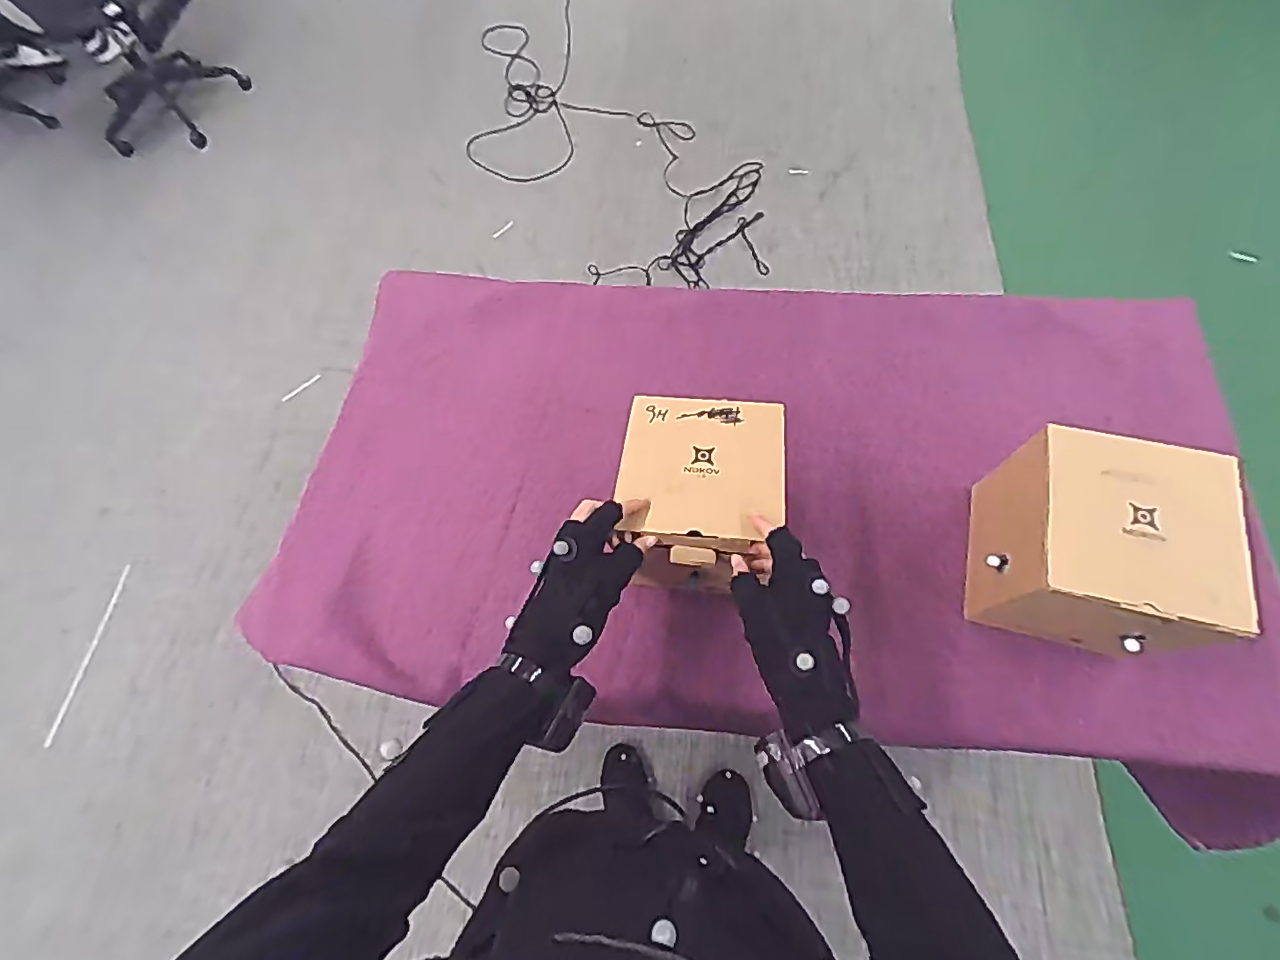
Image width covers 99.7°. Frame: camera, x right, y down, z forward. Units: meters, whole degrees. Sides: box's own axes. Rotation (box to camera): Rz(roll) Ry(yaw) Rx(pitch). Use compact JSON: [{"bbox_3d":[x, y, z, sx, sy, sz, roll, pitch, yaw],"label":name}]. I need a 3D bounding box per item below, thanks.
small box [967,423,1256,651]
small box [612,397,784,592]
[{"bbox_3d":[0.470,0.069,0.571,0.168,0.176,0.179,13,68,11],"label":"small box"},{"bbox_3d":[0.071,0.025,0.631,0.168,0.176,0.179,5,66,8],"label":"small box"}]
